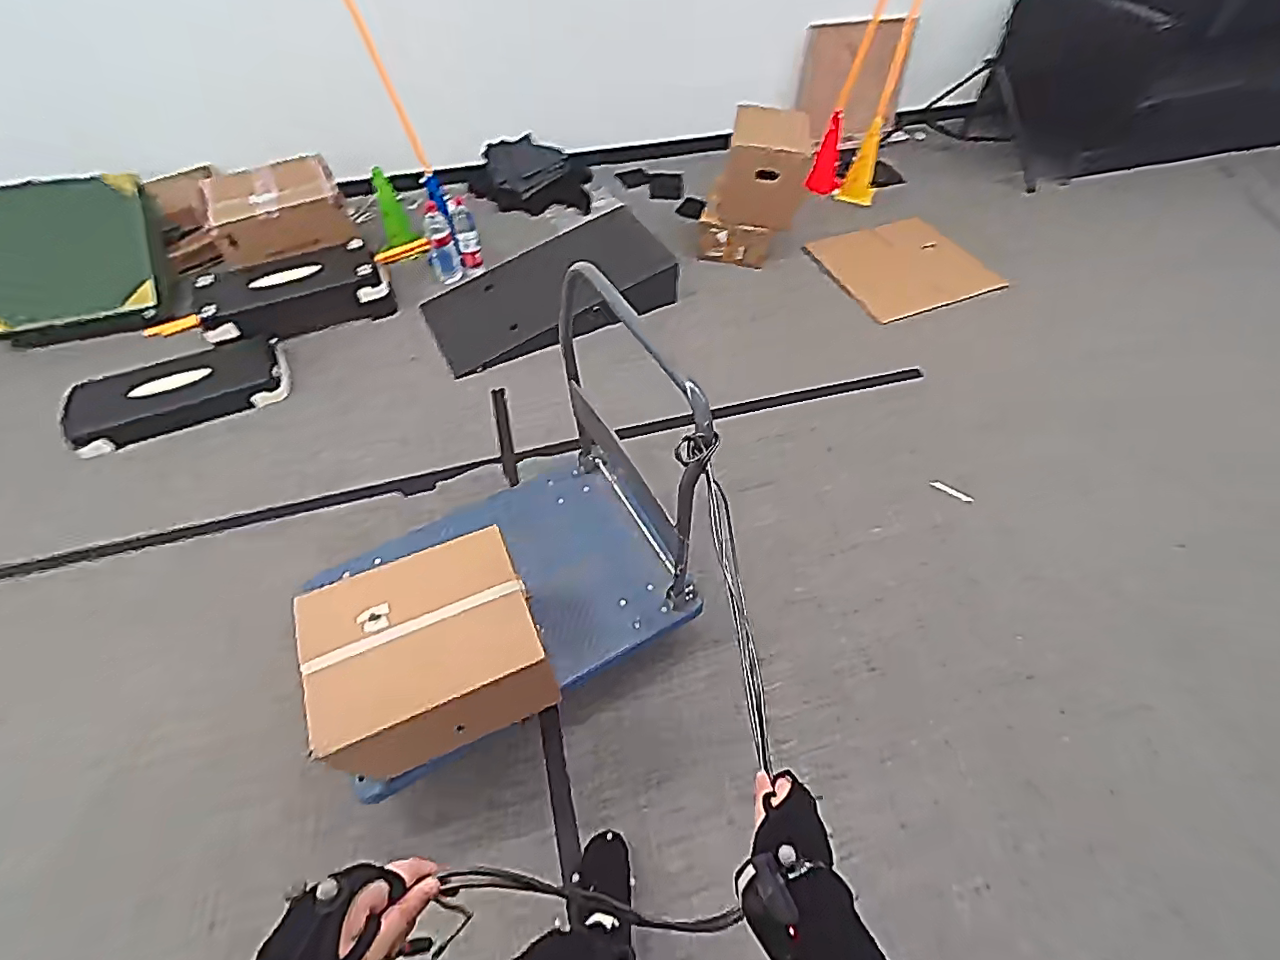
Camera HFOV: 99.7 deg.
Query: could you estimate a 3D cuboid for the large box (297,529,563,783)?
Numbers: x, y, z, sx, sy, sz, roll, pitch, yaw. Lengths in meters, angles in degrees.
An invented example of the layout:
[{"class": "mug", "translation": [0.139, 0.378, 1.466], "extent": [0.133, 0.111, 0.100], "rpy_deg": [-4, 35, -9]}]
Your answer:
[{"class": "large box", "translation": [-0.412, 0.367, 1.125], "extent": [0.408, 0.320, 0.320], "rpy_deg": [-21, 57, -15]}]
